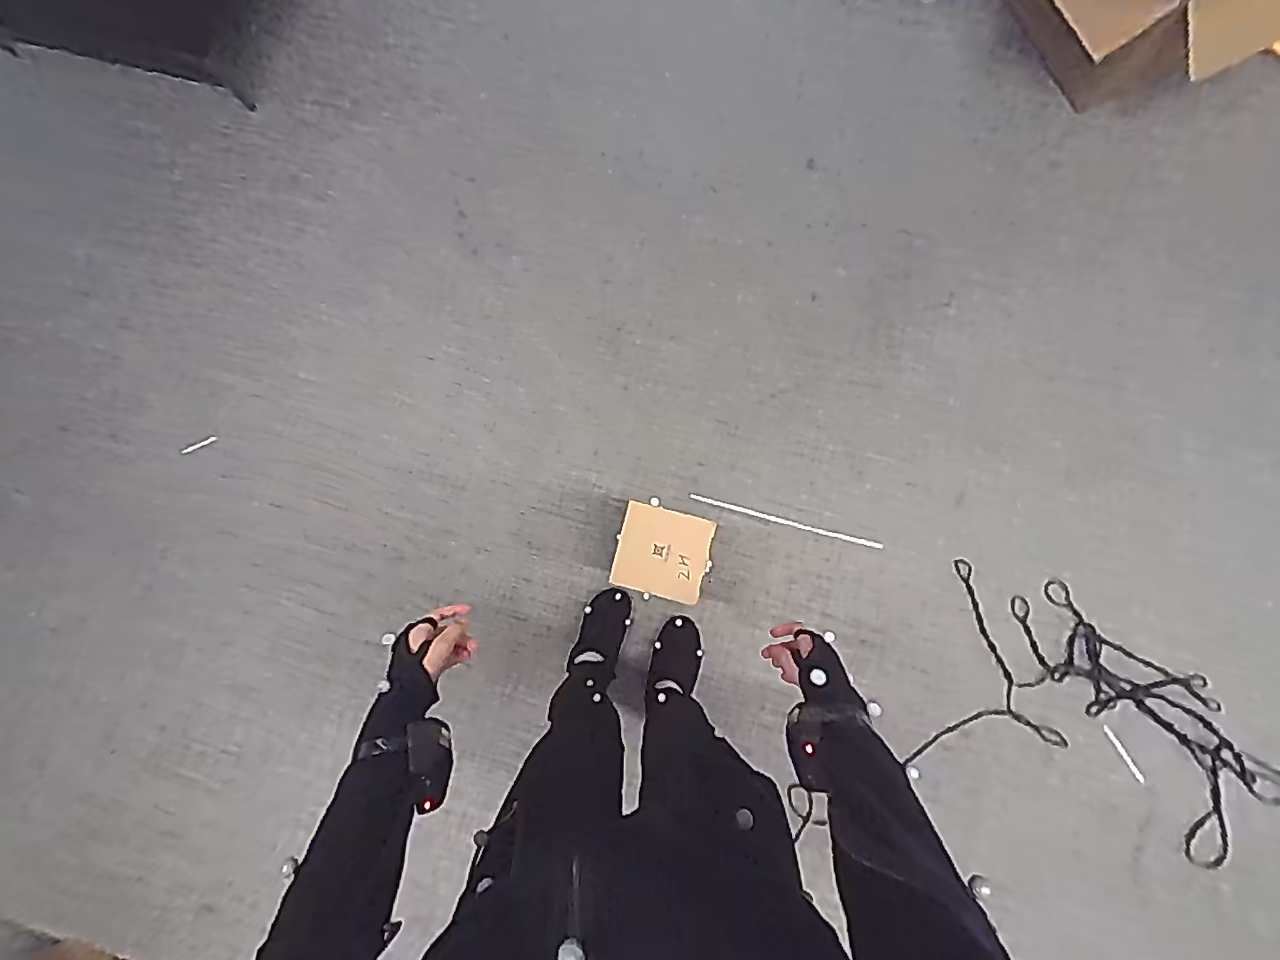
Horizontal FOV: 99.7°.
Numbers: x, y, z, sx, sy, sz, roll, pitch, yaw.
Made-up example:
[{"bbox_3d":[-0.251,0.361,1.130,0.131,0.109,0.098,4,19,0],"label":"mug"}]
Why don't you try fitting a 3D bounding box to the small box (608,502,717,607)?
[{"bbox_3d":[0.049,0.151,1.105,0.179,0.176,0.168,14,84,6],"label":"small box"}]
